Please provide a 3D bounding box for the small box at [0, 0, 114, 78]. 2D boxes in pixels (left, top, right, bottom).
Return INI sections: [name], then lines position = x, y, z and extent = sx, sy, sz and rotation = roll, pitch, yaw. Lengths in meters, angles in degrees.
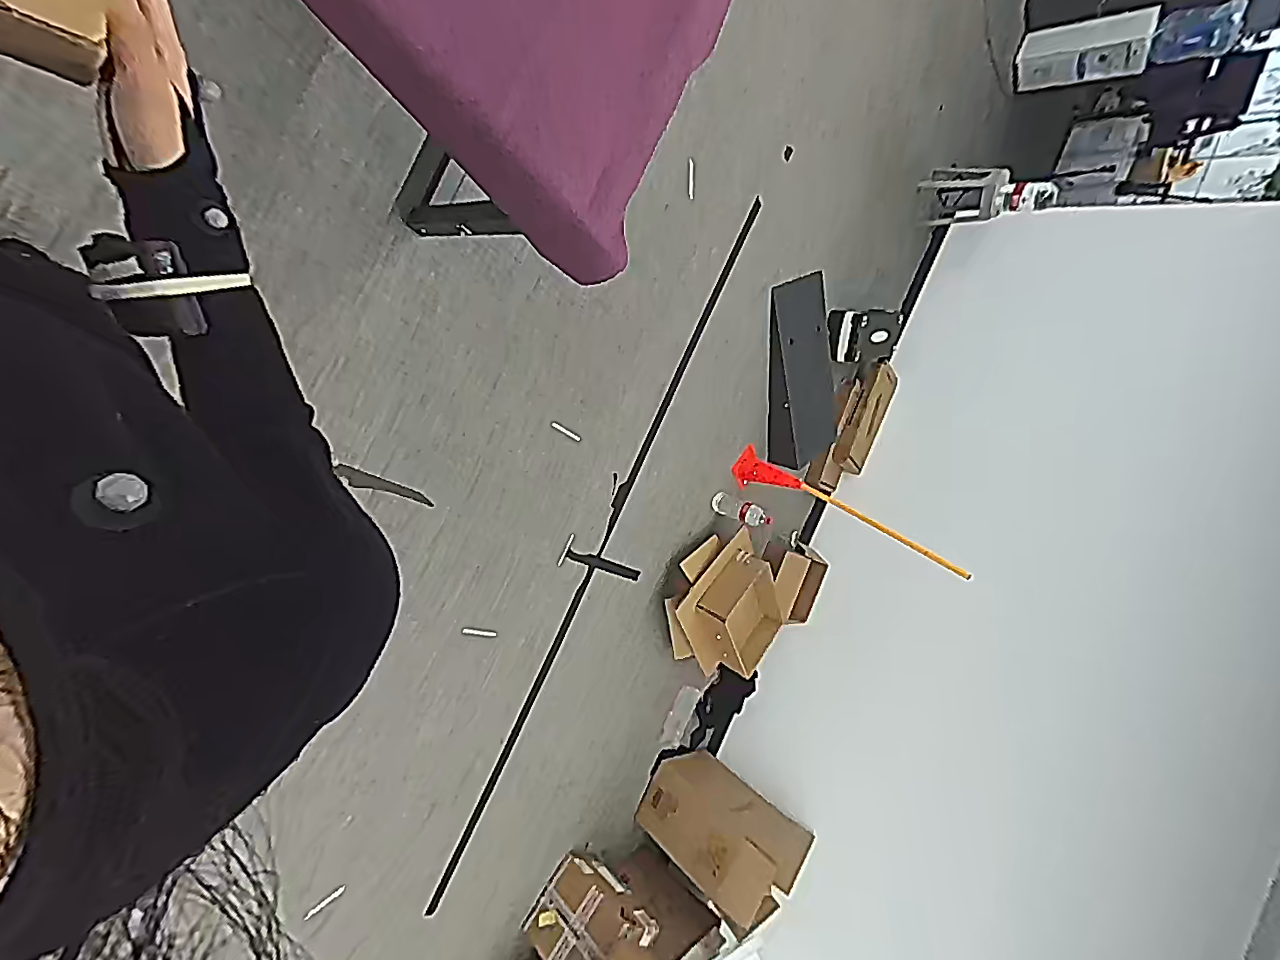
[small box]
position = -0.344, -0.315, 0.237
extent = 0.168, 0.176, 0.179
rotation = 1, 112, -48
